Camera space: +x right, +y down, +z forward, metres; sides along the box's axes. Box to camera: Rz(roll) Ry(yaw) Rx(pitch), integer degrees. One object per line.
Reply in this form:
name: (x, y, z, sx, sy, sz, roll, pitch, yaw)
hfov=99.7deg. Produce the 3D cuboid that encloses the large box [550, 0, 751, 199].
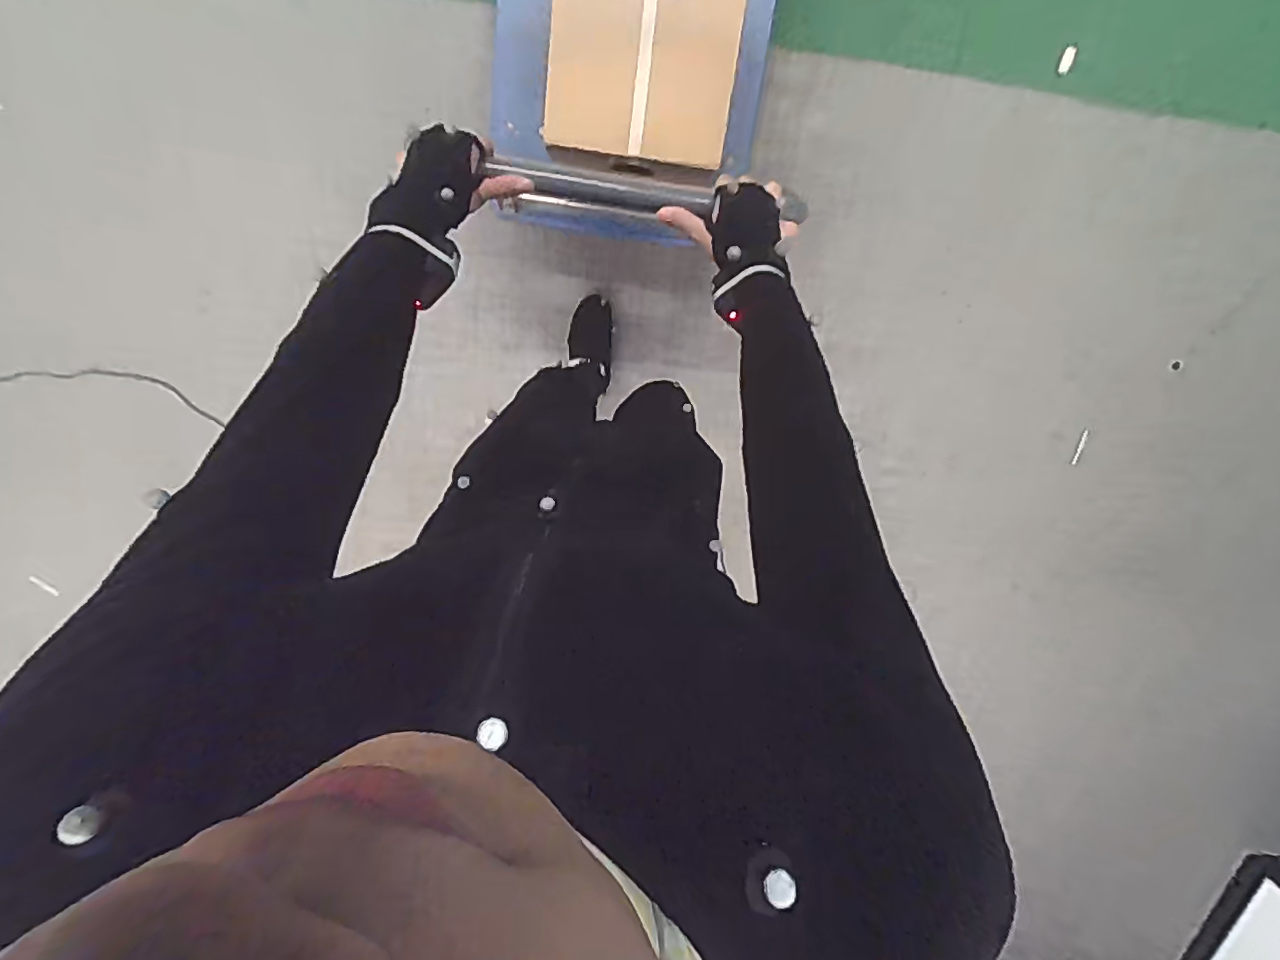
large box: (0.017, -0.790, 1.015, 0.320, 0.320, 0.408, 7, 108, -5)
